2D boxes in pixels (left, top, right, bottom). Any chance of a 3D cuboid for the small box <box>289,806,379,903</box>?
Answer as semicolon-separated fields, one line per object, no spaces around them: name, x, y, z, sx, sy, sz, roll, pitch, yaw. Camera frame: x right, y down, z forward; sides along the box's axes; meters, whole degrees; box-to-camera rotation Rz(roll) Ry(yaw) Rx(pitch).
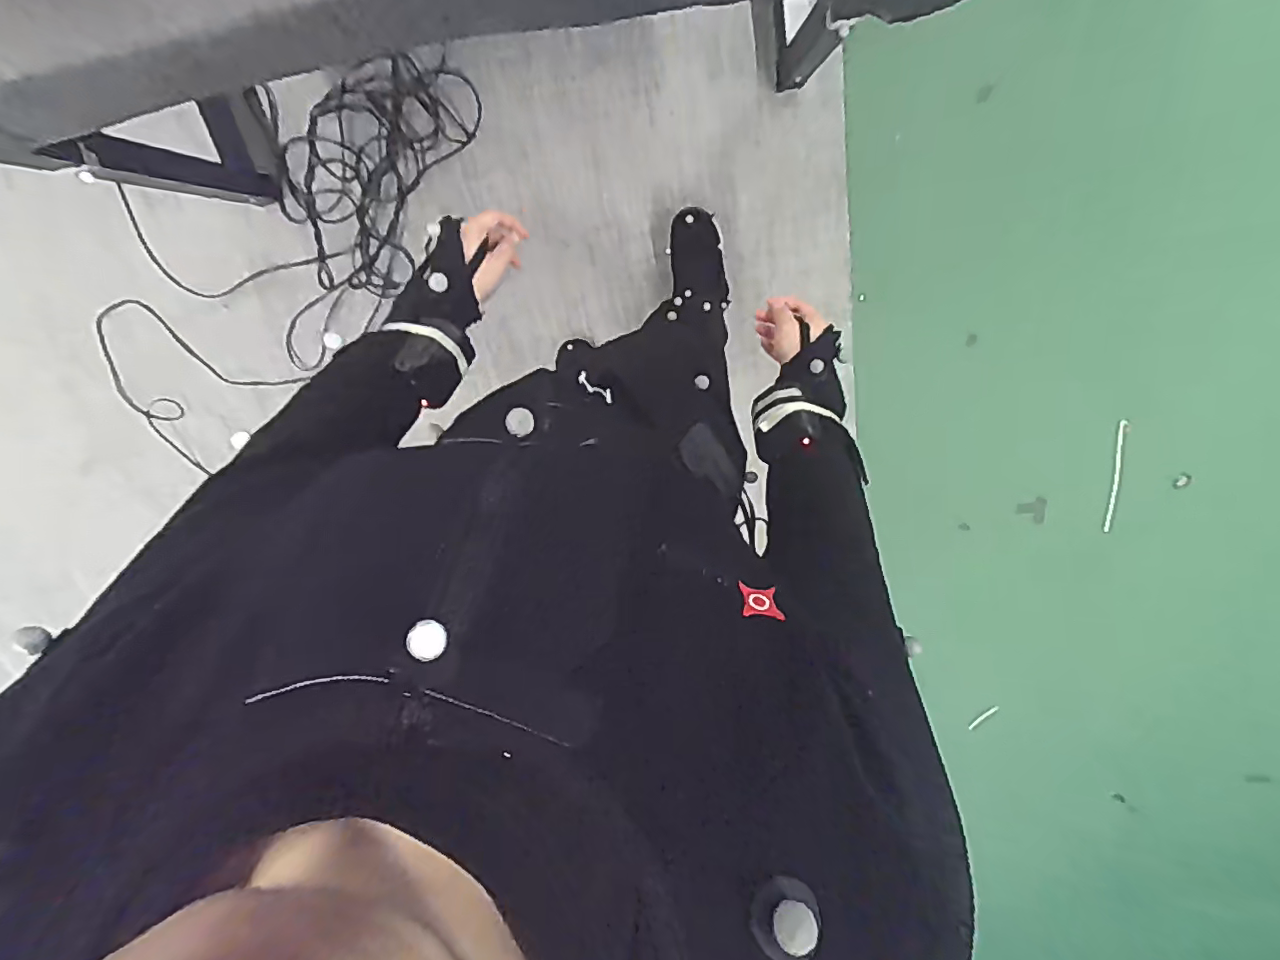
small box;-0.987;1.214;1.759;0.168;0.176;0.179;34;106;-14
